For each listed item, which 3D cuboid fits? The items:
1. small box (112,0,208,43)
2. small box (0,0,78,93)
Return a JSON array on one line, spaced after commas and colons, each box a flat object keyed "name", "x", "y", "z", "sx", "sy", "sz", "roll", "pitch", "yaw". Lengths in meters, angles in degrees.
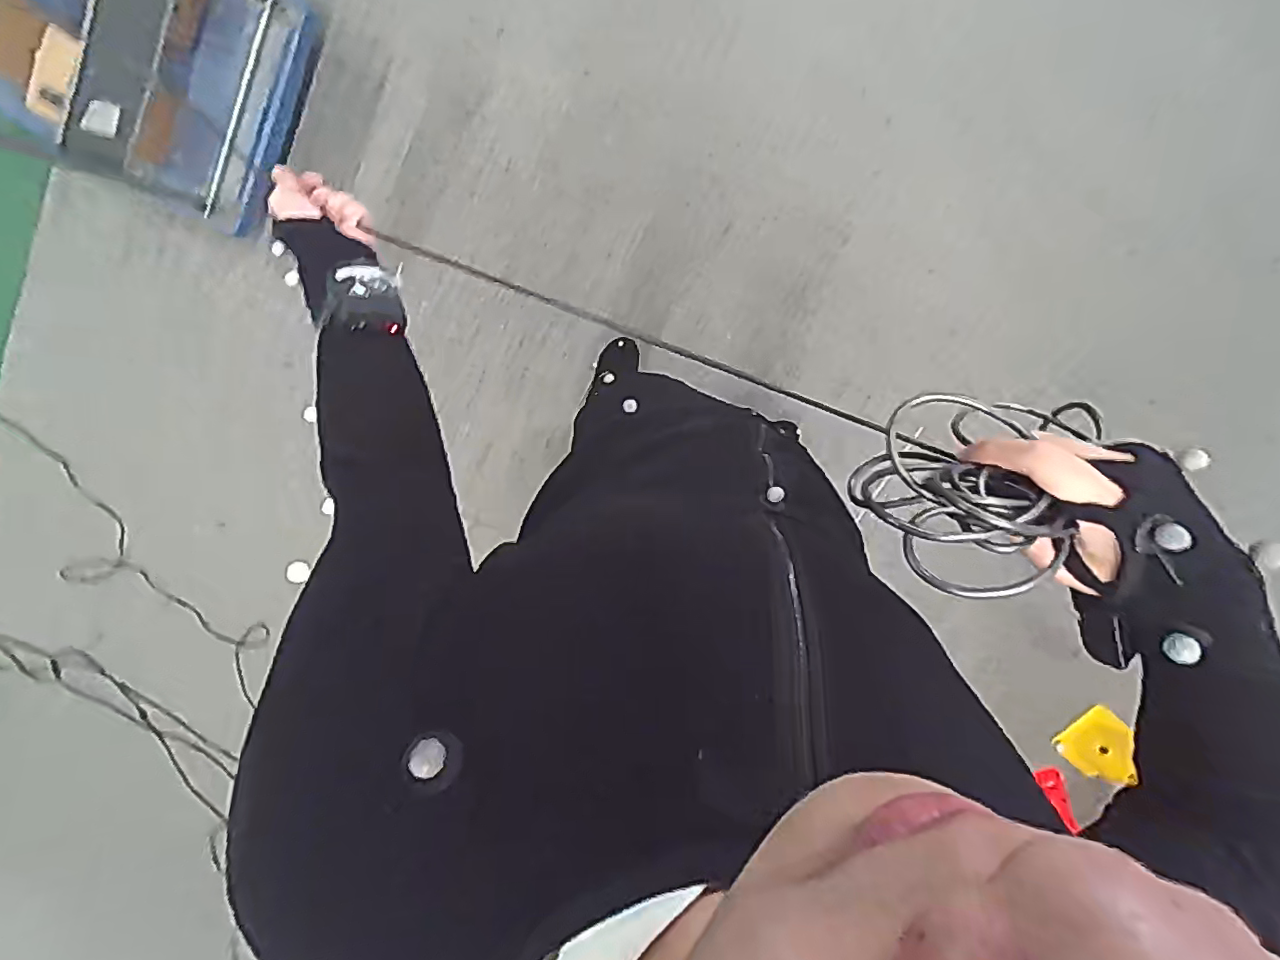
[{"name": "small box", "x": -1.089, "y": -1.105, "z": 1.166, "sx": 0.179, "sy": 0.176, "sz": 0.168, "roll": 29, "pitch": 103, "yaw": -5}, {"name": "small box", "x": -1.429, "y": -1.011, "z": 1.207, "sx": 0.179, "sy": 0.176, "sz": 0.168, "roll": 25, "pitch": 103, "yaw": -3}]
